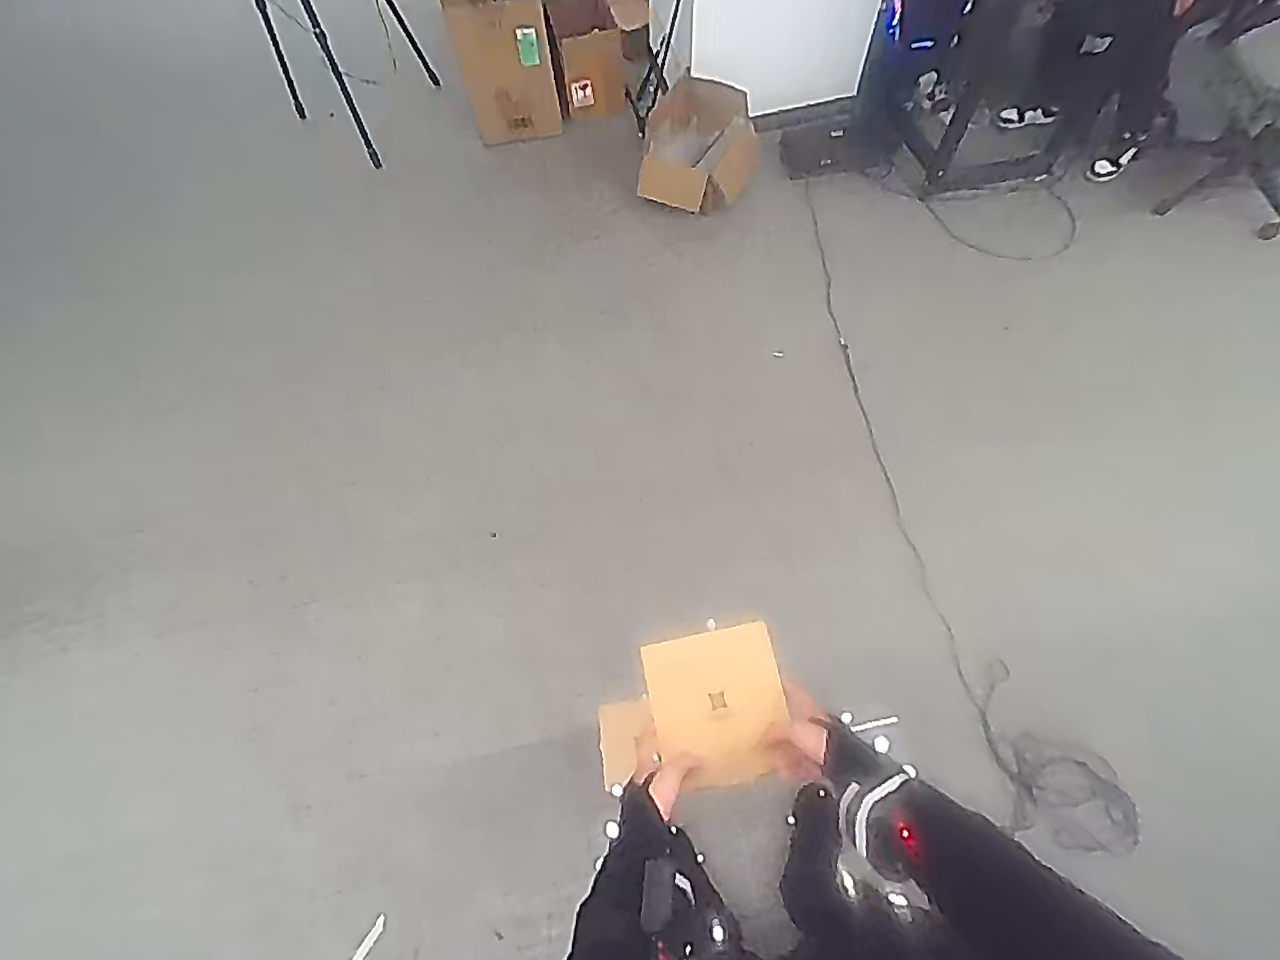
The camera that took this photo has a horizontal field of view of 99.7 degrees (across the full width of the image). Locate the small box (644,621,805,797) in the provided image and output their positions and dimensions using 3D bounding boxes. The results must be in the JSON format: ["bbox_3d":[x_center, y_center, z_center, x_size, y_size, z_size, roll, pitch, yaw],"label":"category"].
[{"bbox_3d":[0.099,0.297,0.734,0.168,0.176,0.179,-12,75,-3],"label":"small box"}]

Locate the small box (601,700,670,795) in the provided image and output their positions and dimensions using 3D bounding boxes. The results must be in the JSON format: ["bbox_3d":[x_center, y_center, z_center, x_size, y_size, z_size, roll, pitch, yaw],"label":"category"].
[{"bbox_3d":[0.016,0.576,1.177,0.179,0.176,0.168,-9,62,1],"label":"small box"}]
